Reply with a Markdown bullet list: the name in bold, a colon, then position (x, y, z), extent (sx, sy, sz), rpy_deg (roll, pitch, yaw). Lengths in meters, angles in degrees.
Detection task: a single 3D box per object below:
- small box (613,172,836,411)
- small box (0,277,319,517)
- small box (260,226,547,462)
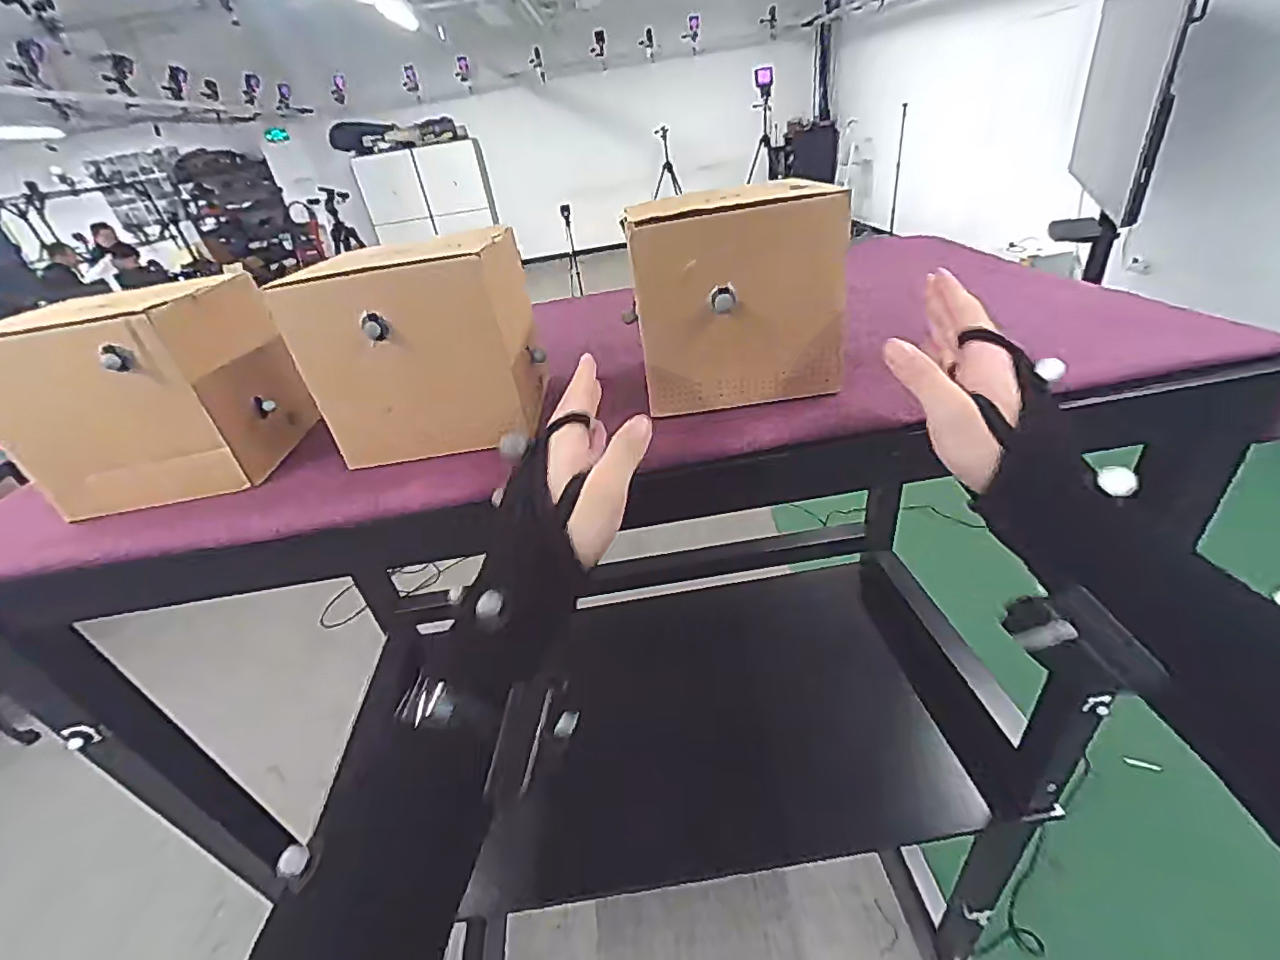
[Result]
- **small box**: position (0.077, -0.181, 0.520), extent (0.179, 0.176, 0.168), rpy_deg (-10, 33, 4)
- **small box**: position (-0.461, -0.082, 0.527), extent (0.179, 0.176, 0.168), rpy_deg (-11, 33, -2)
- **small box**: position (-0.203, -0.132, 0.525), extent (0.179, 0.176, 0.168), rpy_deg (-9, 33, 3)
